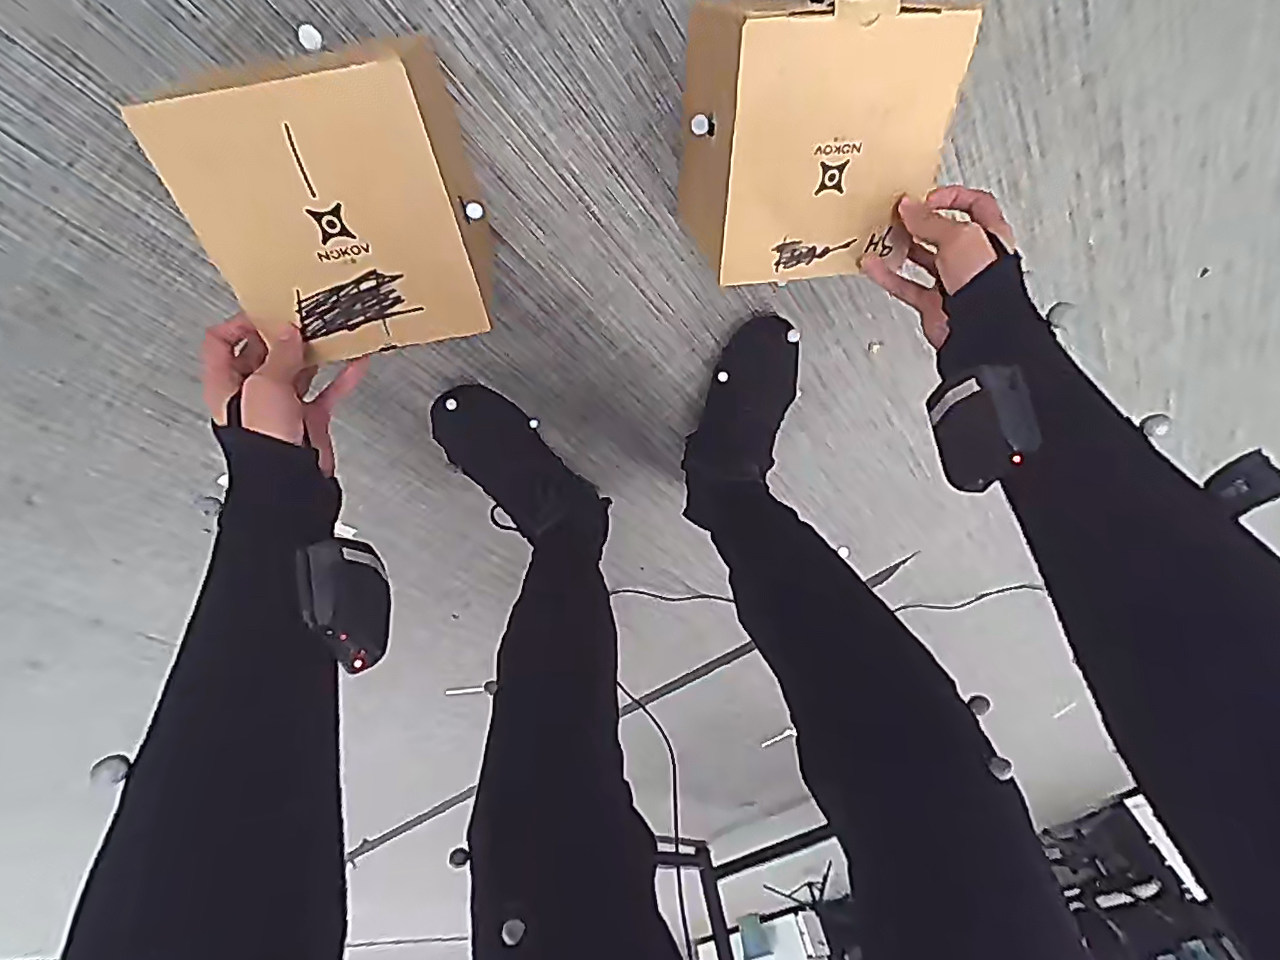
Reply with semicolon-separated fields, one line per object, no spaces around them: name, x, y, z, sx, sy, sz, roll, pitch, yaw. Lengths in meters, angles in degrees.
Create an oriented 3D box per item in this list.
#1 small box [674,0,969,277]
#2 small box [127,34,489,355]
small box;0.127;-0.294;0.462;0.168;0.176;0.179;-6;133;-6
small box;-0.225;-0.230;0.434;0.168;0.176;0.179;-12;133;-3
